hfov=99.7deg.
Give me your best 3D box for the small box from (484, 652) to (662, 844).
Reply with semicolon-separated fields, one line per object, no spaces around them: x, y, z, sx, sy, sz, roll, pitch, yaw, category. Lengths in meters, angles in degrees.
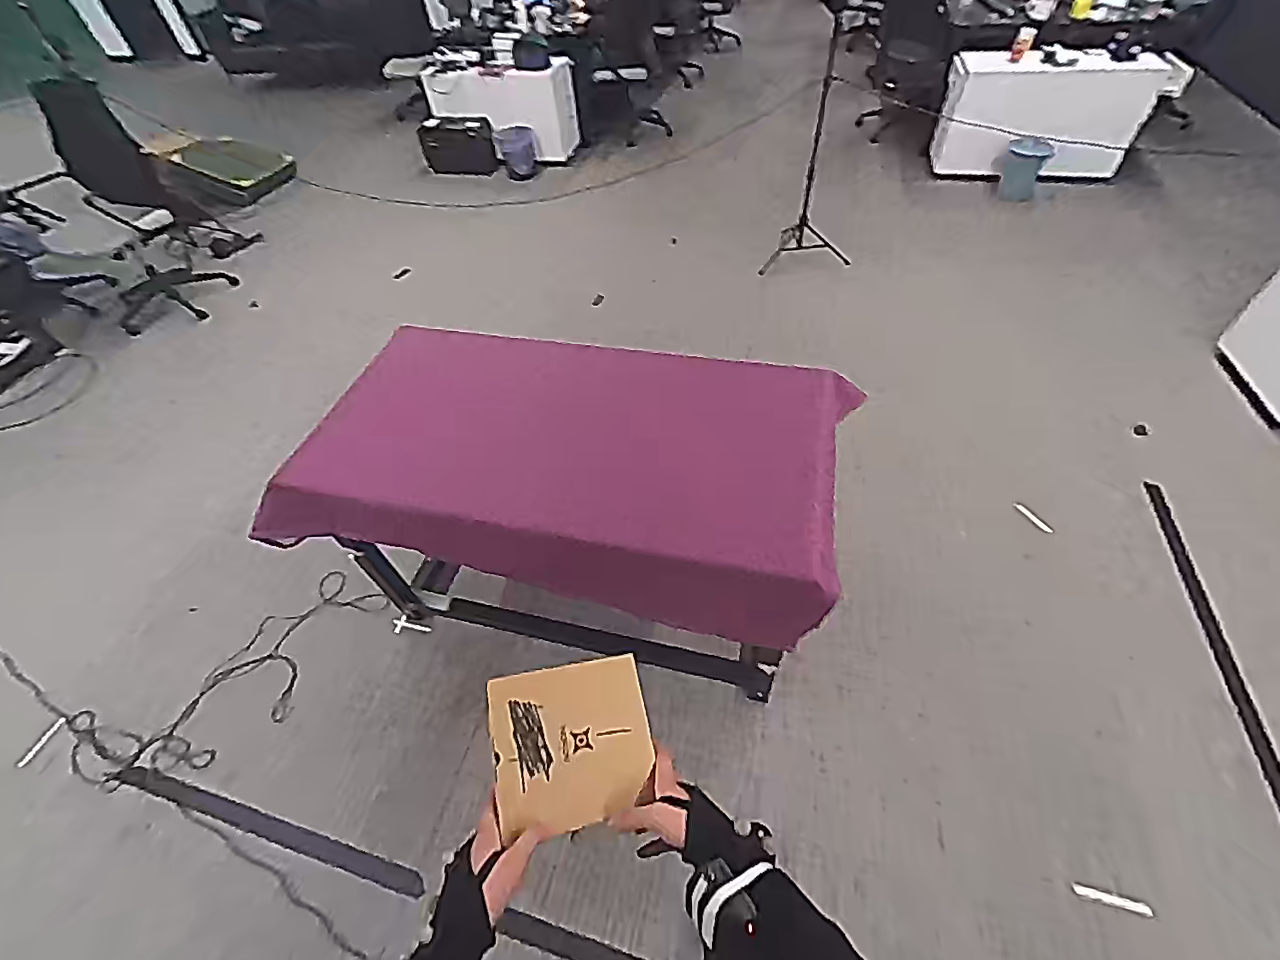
-0.085;0.330;0.663;0.179;0.176;0.168;-8;59;-13;small box
